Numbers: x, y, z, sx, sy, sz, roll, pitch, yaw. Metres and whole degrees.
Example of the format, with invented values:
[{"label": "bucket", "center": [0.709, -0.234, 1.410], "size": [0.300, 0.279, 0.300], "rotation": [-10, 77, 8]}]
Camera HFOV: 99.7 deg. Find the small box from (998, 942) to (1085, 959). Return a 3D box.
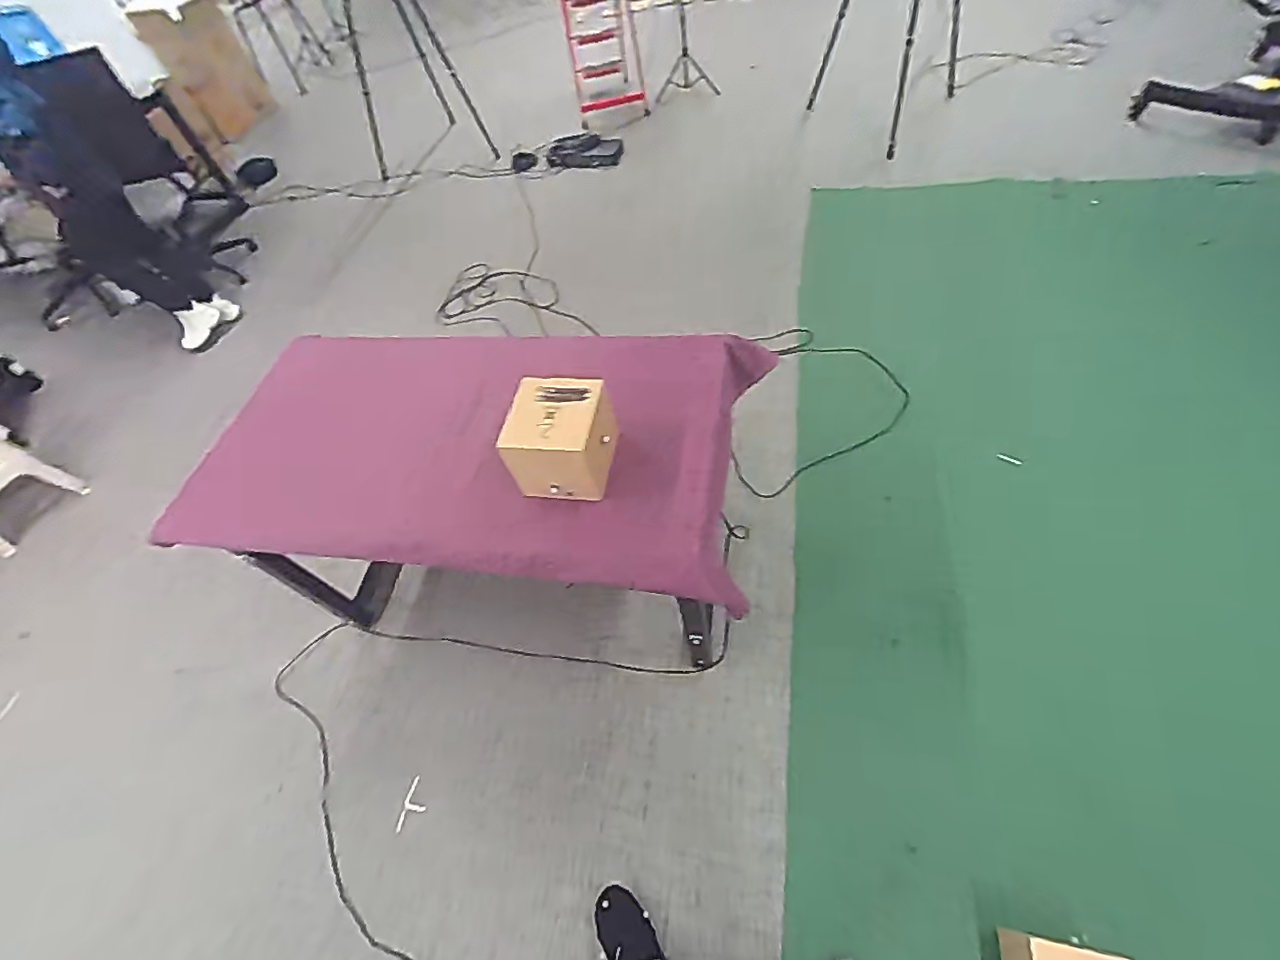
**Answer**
[{"label": "small box", "center": [0.813, 1.009, 1.030], "size": [0.179, 0.176, 0.168], "rotation": [6, 55, 12]}]
